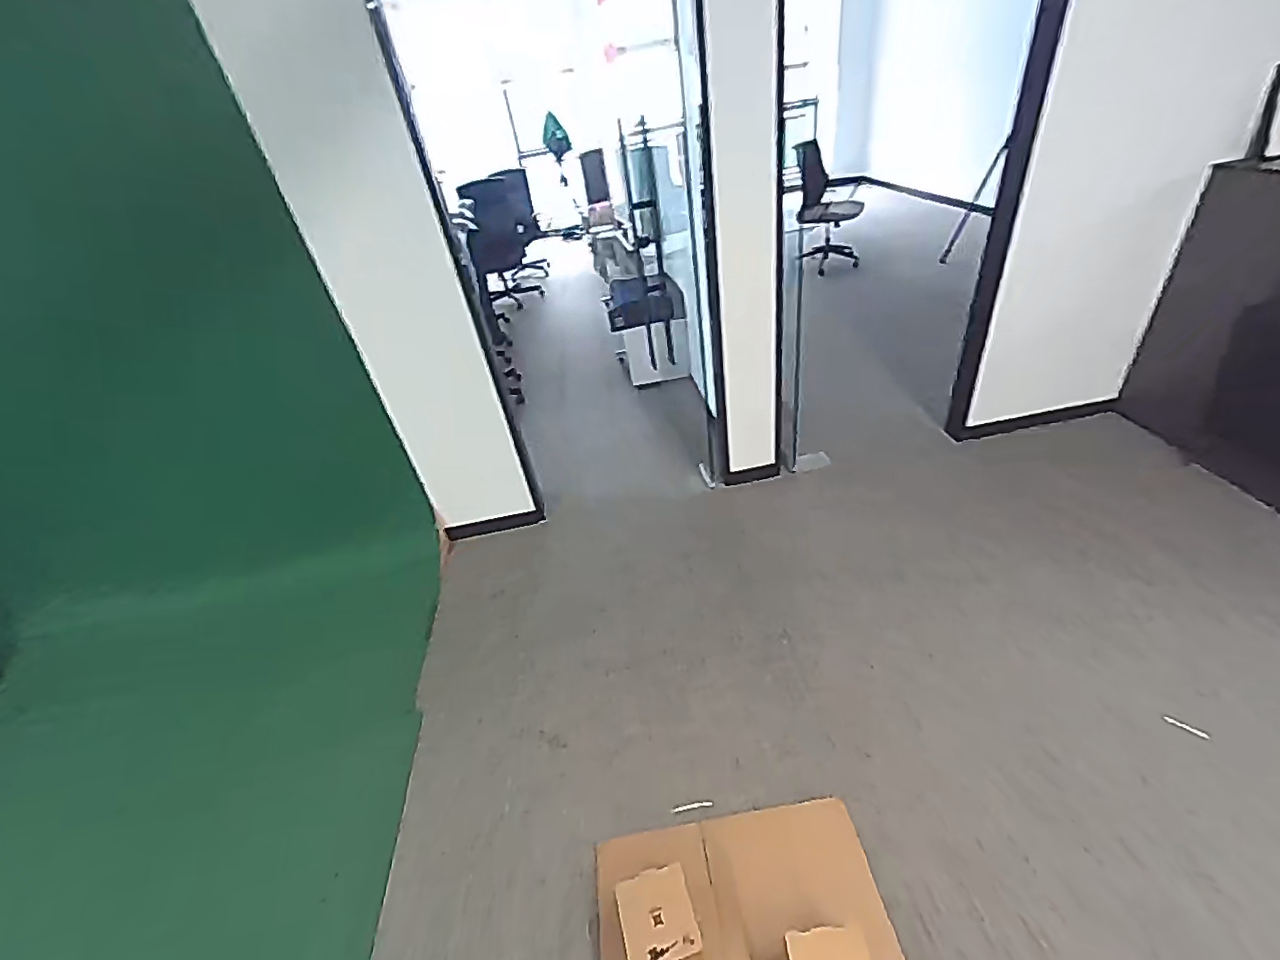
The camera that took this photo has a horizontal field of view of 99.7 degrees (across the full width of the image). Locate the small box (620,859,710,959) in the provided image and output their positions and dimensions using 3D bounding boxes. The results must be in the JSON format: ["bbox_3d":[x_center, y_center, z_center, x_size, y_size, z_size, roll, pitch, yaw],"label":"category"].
[{"bbox_3d":[0.057,1.036,1.259,0.168,0.176,0.179,-15,36,-7],"label":"small box"}]

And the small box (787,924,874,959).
[{"bbox_3d":[0.410,1.067,1.127,0.168,0.176,0.179,-9,35,3],"label":"small box"}]
